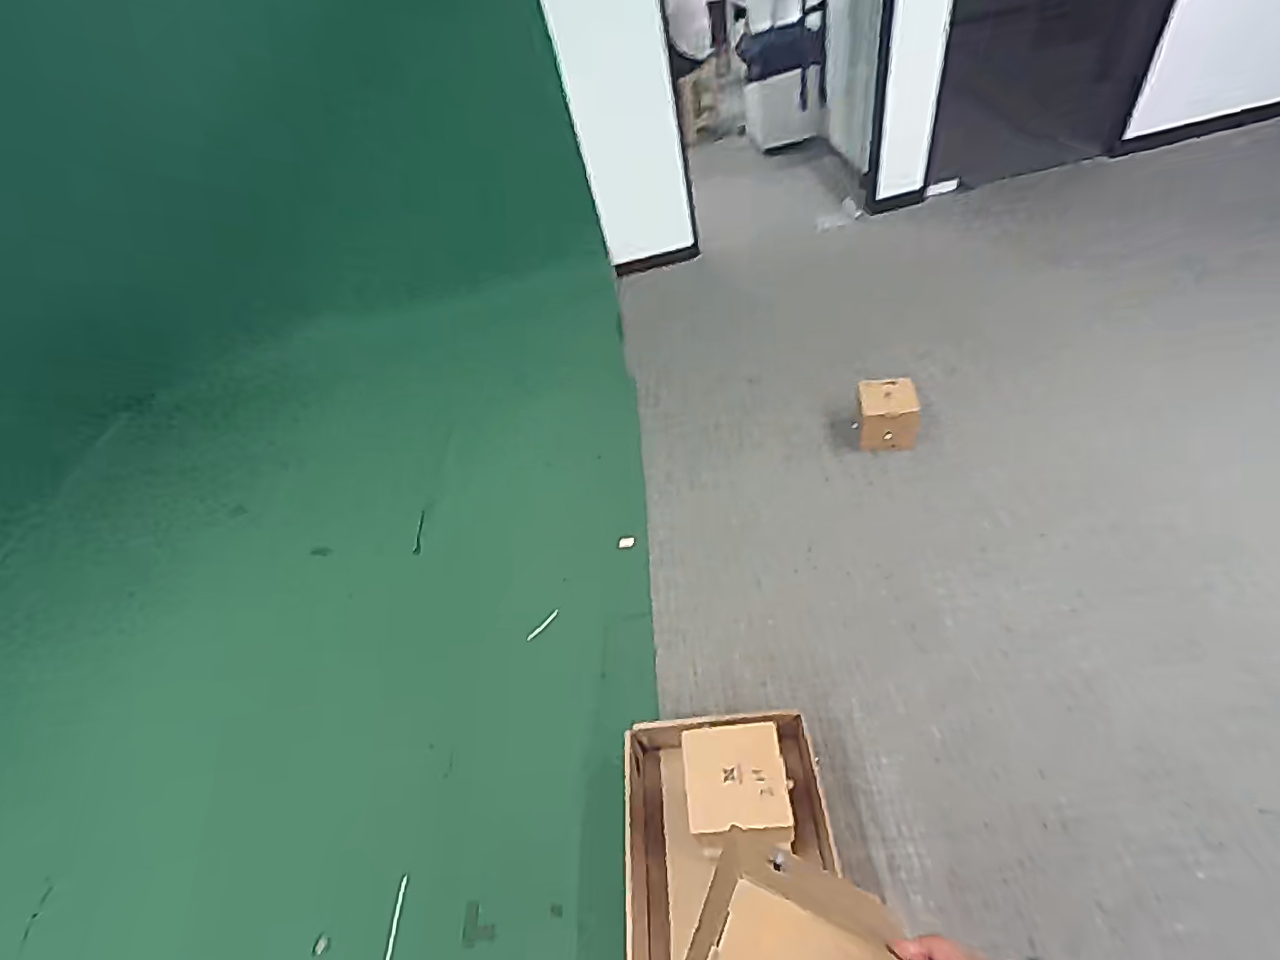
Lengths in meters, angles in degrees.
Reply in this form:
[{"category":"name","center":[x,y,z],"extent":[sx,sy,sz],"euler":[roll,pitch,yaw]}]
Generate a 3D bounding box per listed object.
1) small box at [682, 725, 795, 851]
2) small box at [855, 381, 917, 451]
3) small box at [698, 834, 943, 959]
[{"category":"small box","center":[0.182,0.570,0.995],"extent":[0.179,0.176,0.168],"euler":[-9,48,7]},{"category":"small box","center":[0.823,-0.208,1.819],"extent":[0.168,0.176,0.179],"euler":[-2,49,15]},{"category":"small box","center":[0.154,0.466,0.503],"extent":[0.179,0.176,0.168],"euler":[21,76,13]}]
